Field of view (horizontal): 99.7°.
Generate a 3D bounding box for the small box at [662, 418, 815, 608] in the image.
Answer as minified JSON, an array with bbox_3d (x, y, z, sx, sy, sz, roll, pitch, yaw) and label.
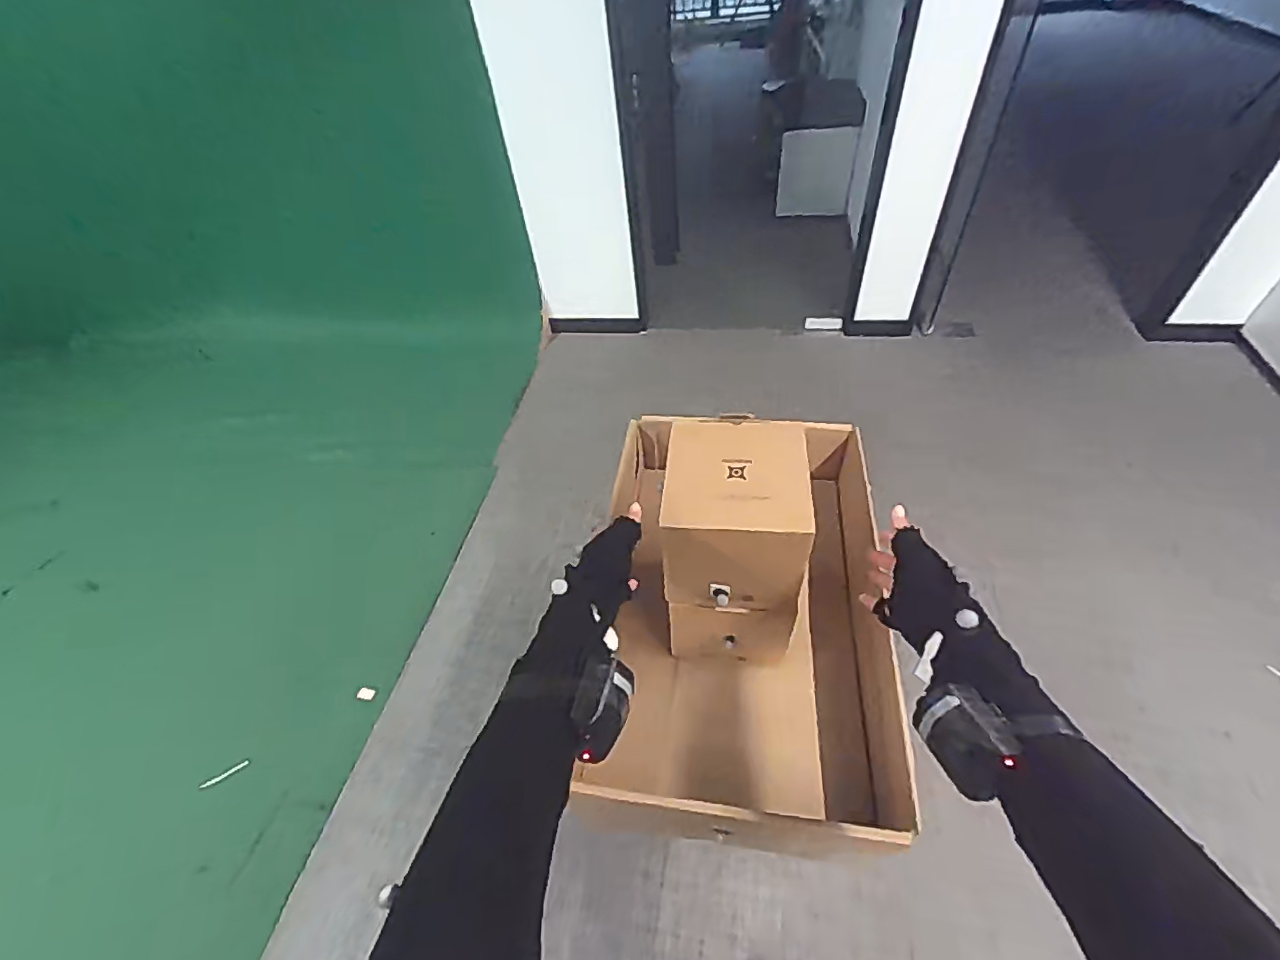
[{"bbox_3d":[0.120,0.041,0.689,0.168,0.176,0.179,1,49,9],"label":"small box"}]
